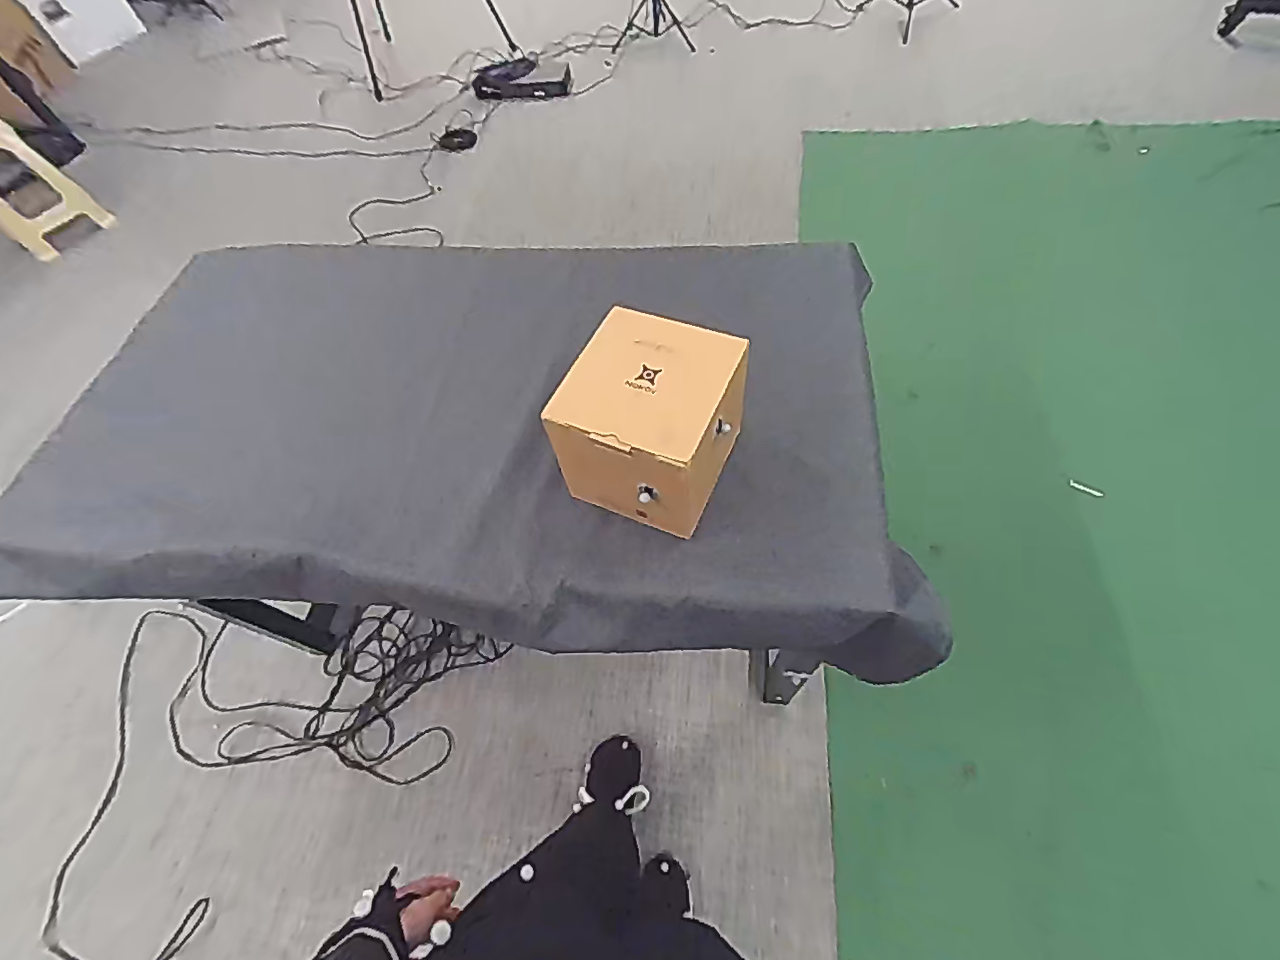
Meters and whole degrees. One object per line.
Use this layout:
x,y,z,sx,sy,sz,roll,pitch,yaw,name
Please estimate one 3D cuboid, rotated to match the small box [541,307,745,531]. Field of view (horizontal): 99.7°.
0.013,-0.066,0.634,0.168,0.176,0.179,20,61,16,small box
